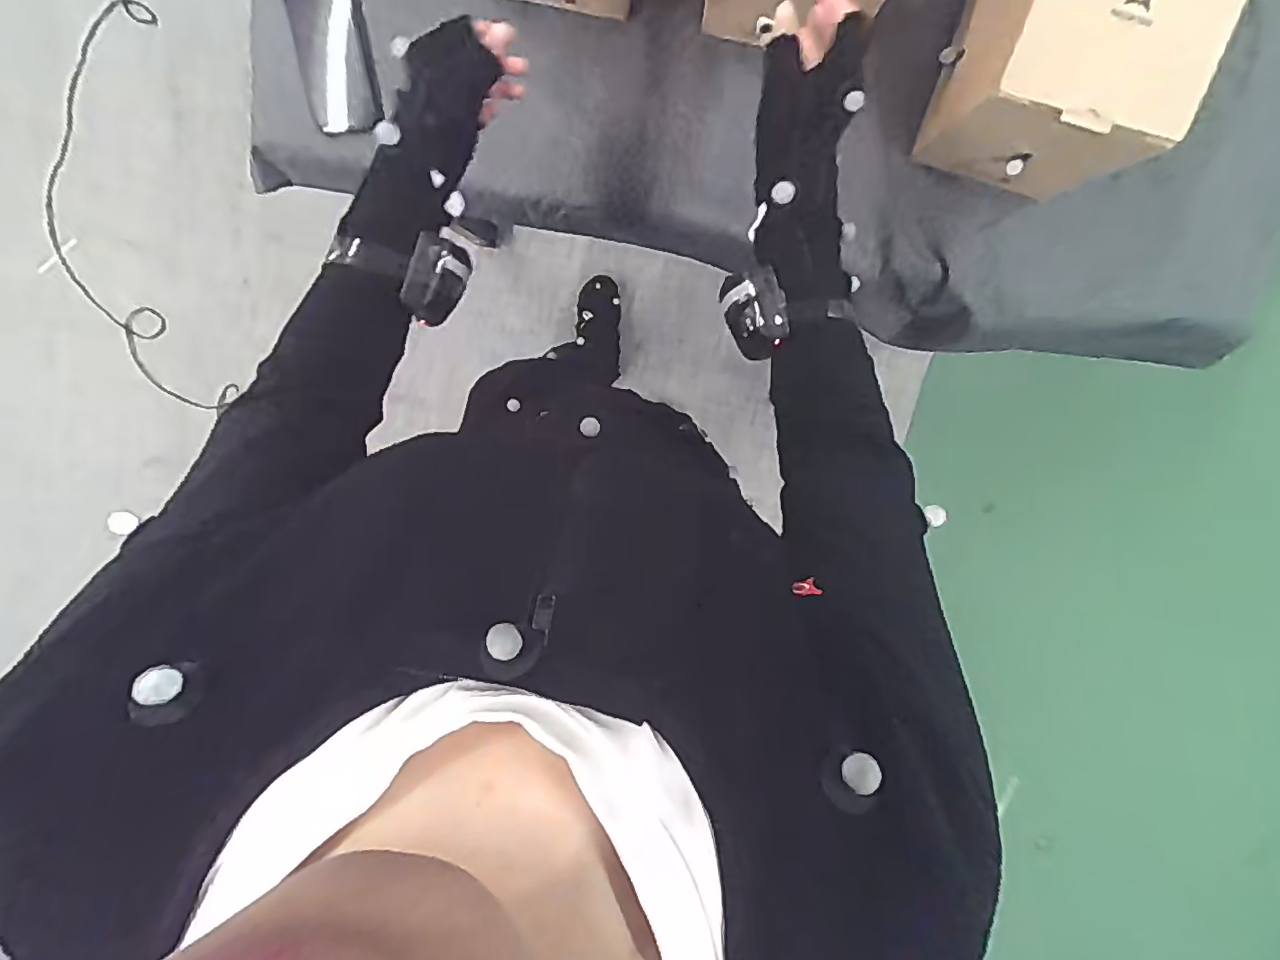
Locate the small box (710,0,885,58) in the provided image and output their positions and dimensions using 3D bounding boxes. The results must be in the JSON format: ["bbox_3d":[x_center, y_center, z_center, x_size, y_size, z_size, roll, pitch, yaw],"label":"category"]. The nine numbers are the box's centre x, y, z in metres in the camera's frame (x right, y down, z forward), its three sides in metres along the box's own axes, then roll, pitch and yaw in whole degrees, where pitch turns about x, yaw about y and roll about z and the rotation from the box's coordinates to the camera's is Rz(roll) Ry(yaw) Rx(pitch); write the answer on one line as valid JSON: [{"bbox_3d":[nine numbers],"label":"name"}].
[{"bbox_3d":[0.162,-0.545,0.505,0.168,0.176,0.179,9,105,1],"label":"small box"}]

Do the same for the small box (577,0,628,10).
[{"bbox_3d":[-0.079,-0.589,0.497,0.168,0.176,0.179,10,103,-1],"label":"small box"}]

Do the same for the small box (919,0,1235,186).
[{"bbox_3d":[0.406,-0.414,0.525,0.168,0.176,0.179,15,104,-3],"label":"small box"}]
